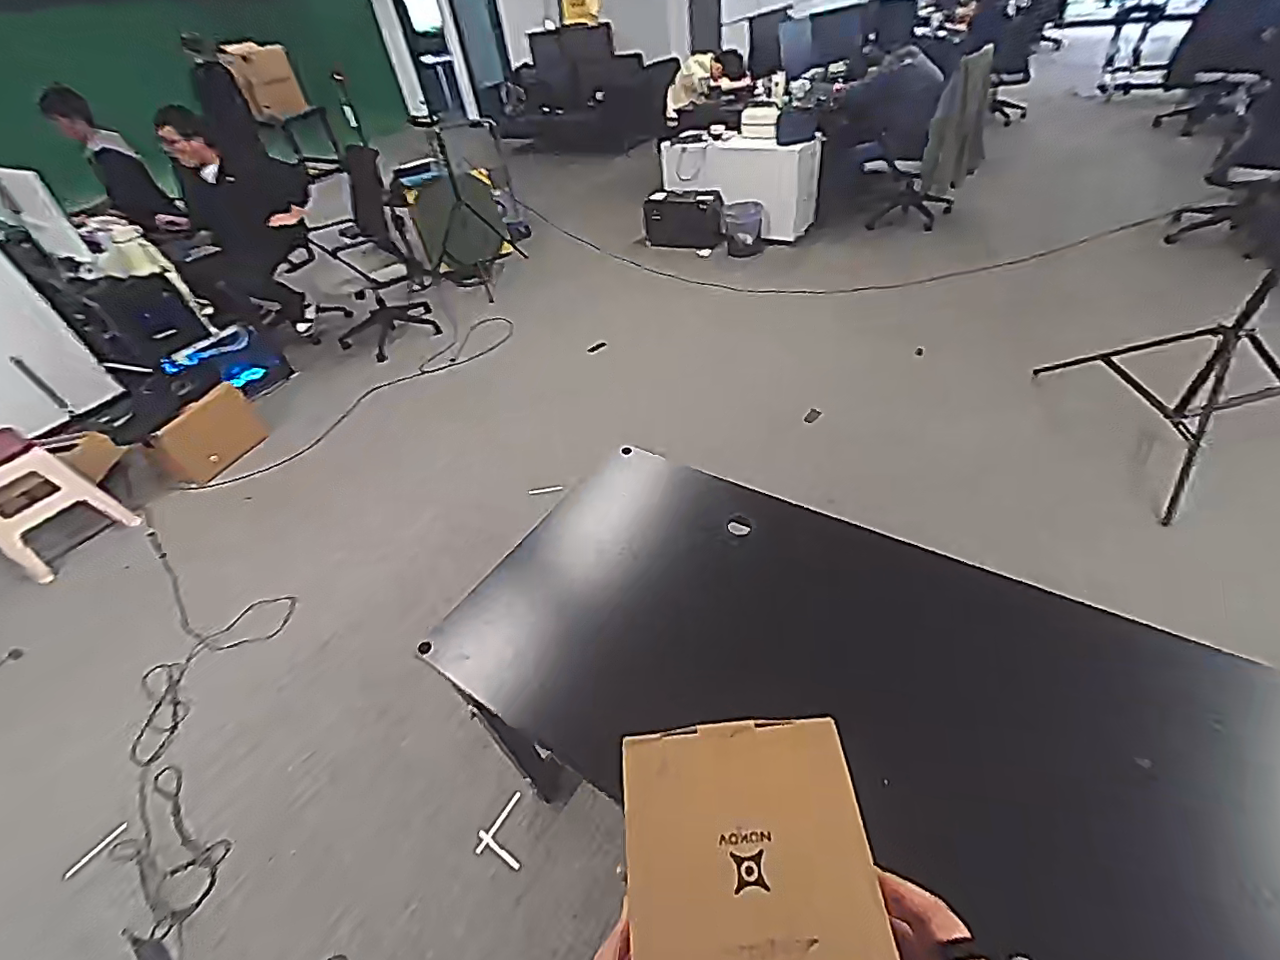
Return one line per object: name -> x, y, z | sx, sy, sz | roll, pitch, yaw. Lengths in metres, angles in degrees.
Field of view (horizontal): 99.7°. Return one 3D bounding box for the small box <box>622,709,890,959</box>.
small box -> 0.077, 0.303, 0.434 | 0.168, 0.176, 0.179 | -6, 52, 3
